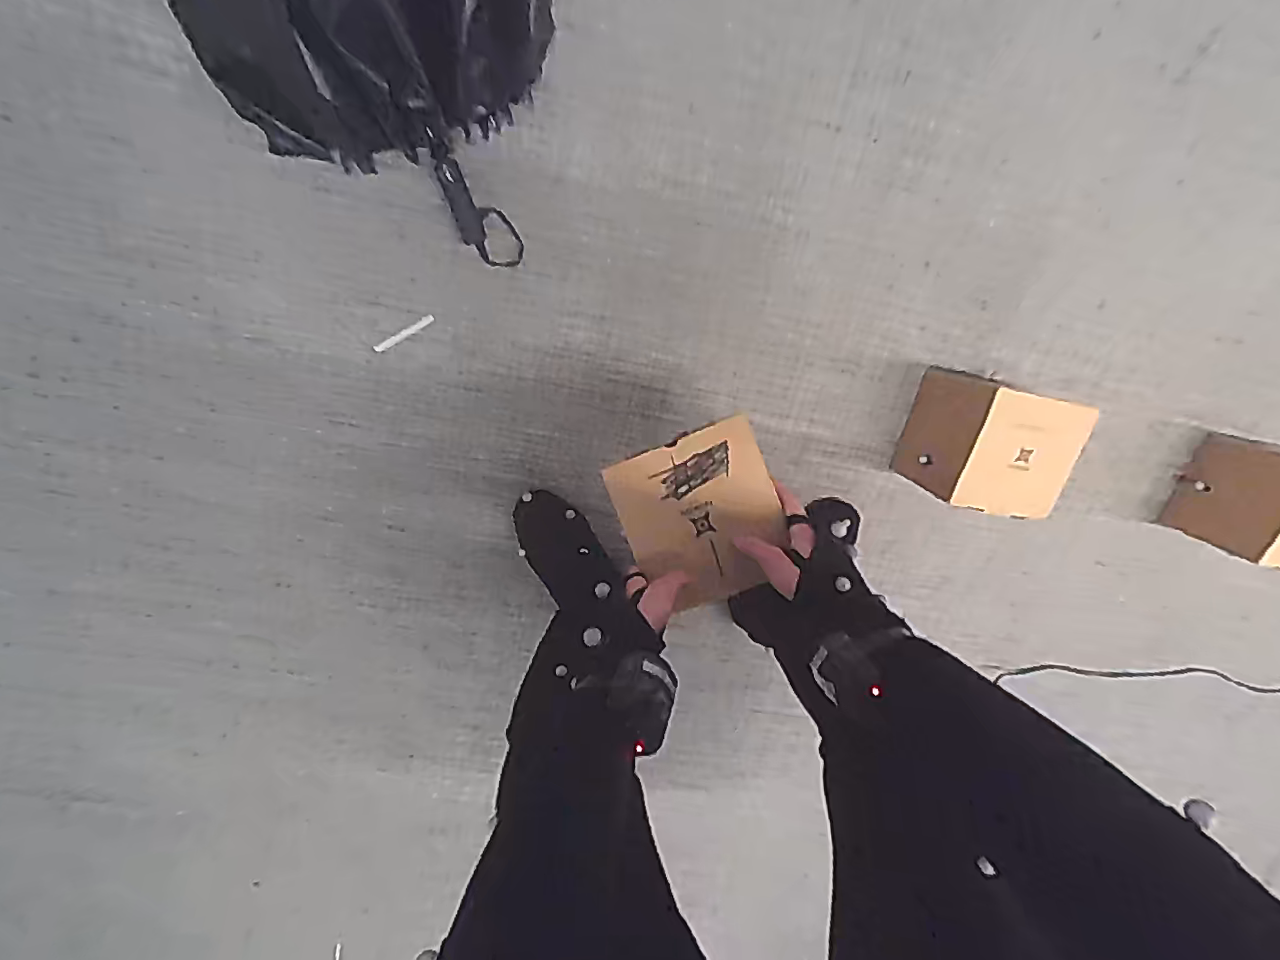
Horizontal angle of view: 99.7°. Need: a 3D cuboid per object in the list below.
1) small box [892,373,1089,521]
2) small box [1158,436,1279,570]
[{"bbox_3d":[0.528,-0.058,0.847,0.168,0.176,0.179,9,107,-9],"label":"small box"},{"bbox_3d":[1.060,0.041,0.924,0.168,0.176,0.179,11,109,-8],"label":"small box"}]
